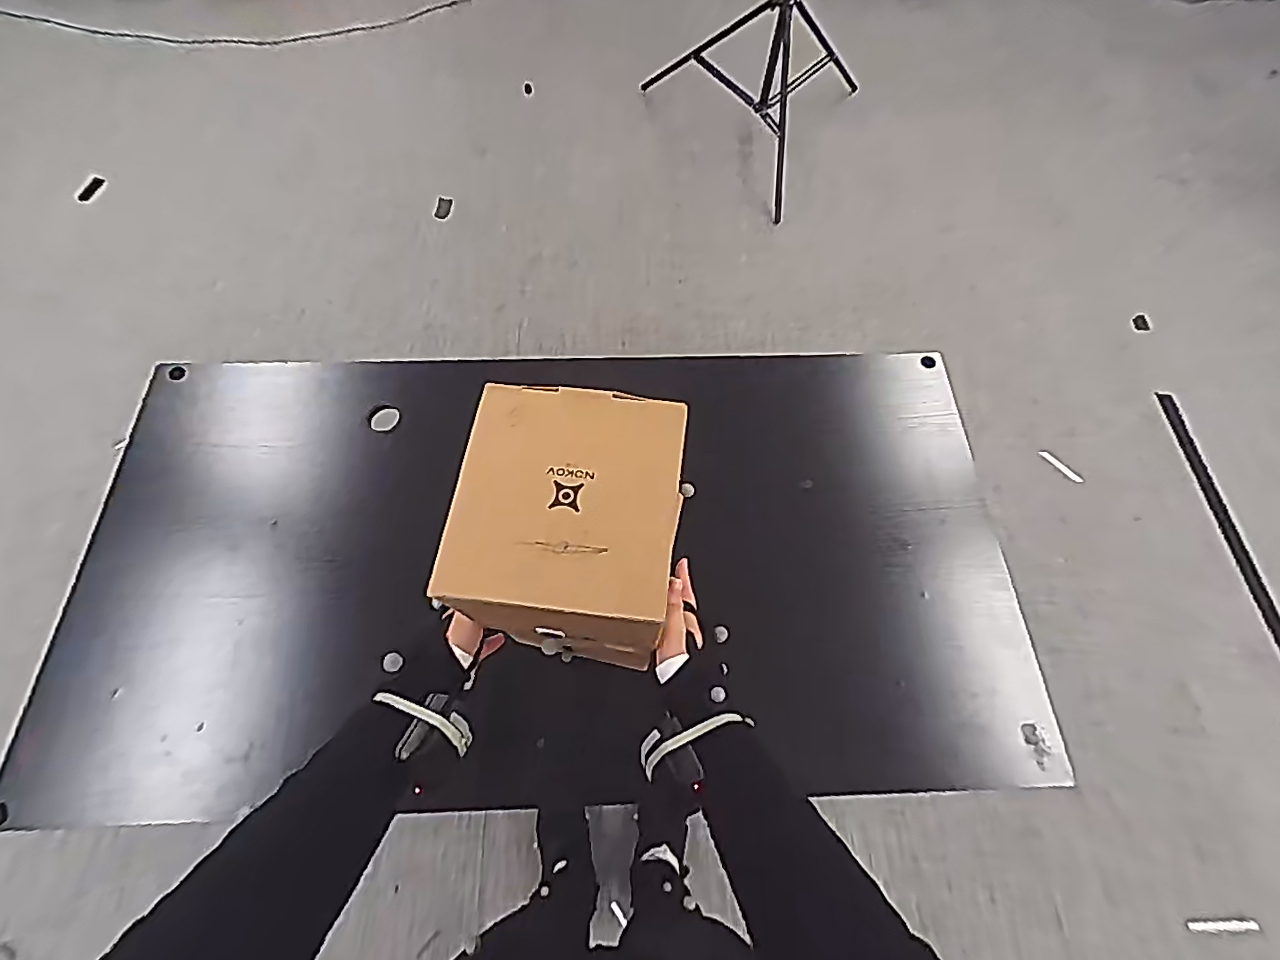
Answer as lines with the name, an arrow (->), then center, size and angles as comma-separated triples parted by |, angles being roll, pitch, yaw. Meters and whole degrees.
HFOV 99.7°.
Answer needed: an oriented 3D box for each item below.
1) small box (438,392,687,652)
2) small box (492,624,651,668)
small box -> -0.053, 0.046, 0.483 | 0.168, 0.176, 0.179 | 6, 67, 3
small box -> -0.054, 0.111, 0.632 | 0.168, 0.176, 0.179 | 11, 65, 4
